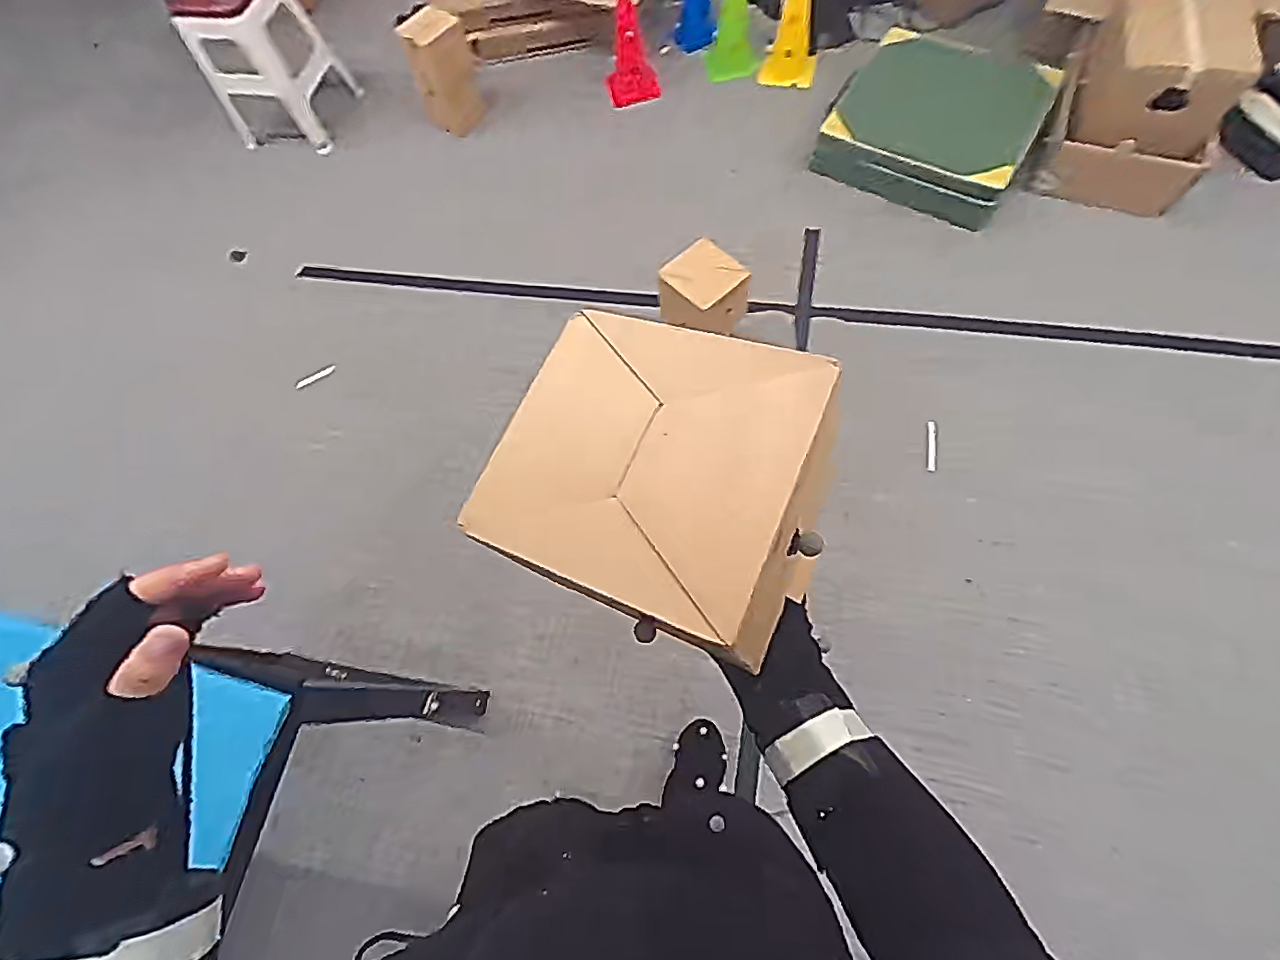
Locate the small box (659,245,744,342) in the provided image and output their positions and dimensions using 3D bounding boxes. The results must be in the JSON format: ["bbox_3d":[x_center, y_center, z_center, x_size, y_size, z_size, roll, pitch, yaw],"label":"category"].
[{"bbox_3d":[0.163,-0.481,1.441,0.168,0.176,0.179,-41,69,-12],"label":"small box"}]

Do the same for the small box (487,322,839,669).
[{"bbox_3d":[0.029,0.014,0.383,0.179,0.176,0.168,19,72,24],"label":"small box"}]

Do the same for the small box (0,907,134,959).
[{"bbox_3d":[-0.646,0.534,0.490,0.179,0.176,0.168,7,69,9],"label":"small box"}]
